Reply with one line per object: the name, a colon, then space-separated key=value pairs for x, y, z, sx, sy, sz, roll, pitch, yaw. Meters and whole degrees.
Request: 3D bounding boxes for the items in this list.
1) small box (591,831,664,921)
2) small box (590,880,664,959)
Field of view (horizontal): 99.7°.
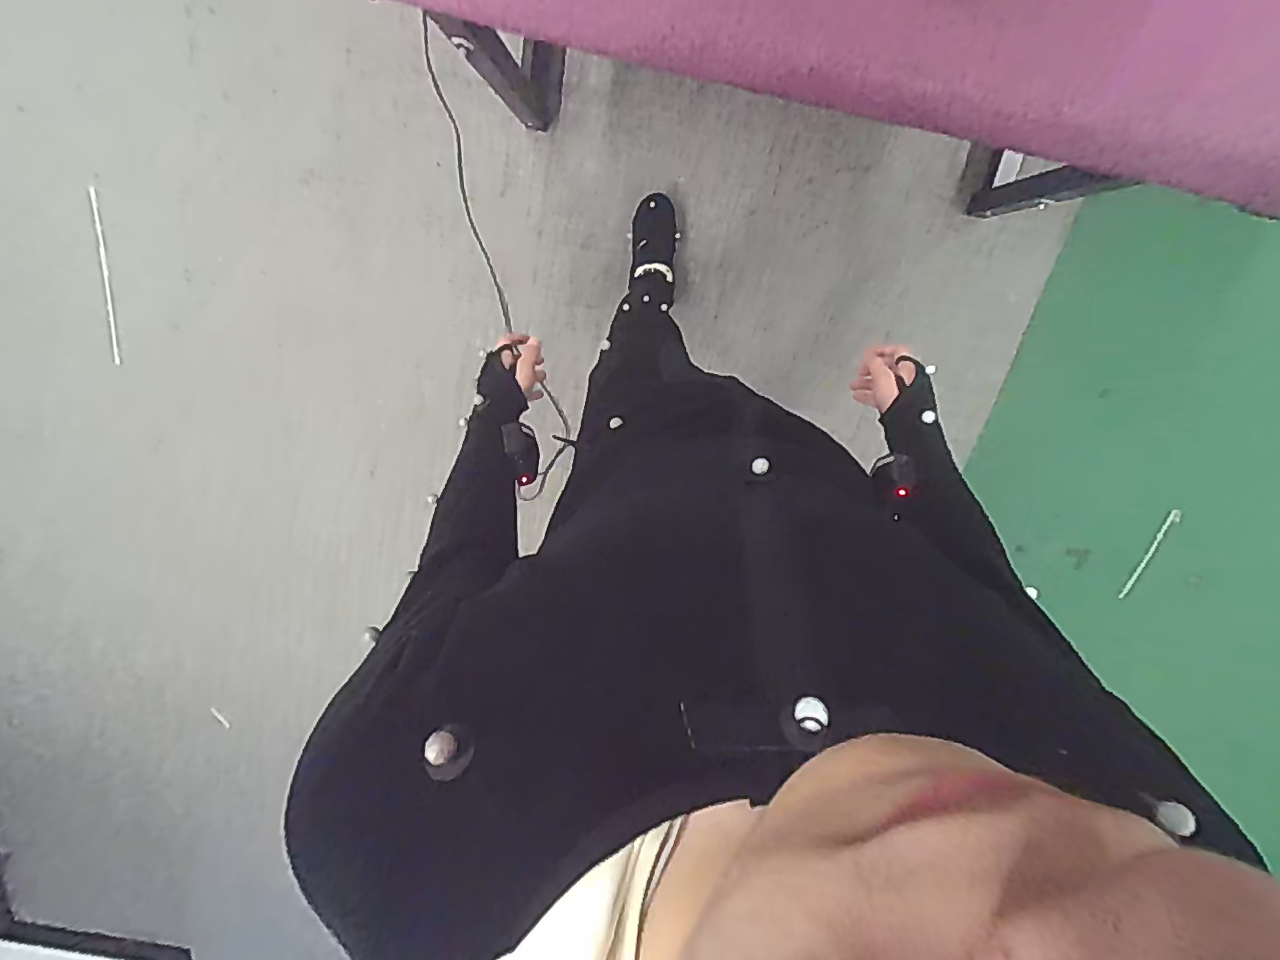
small box: x=-0.034 y=1.189 z=1.612 sx=0.179 sy=0.176 sz=0.168 roll=16 pitch=109 yaw=-4
small box: x=-0.033 y=1.234 z=1.457 sx=0.168 sy=0.176 sz=0.179 roll=15 pitch=110 yaw=-3
